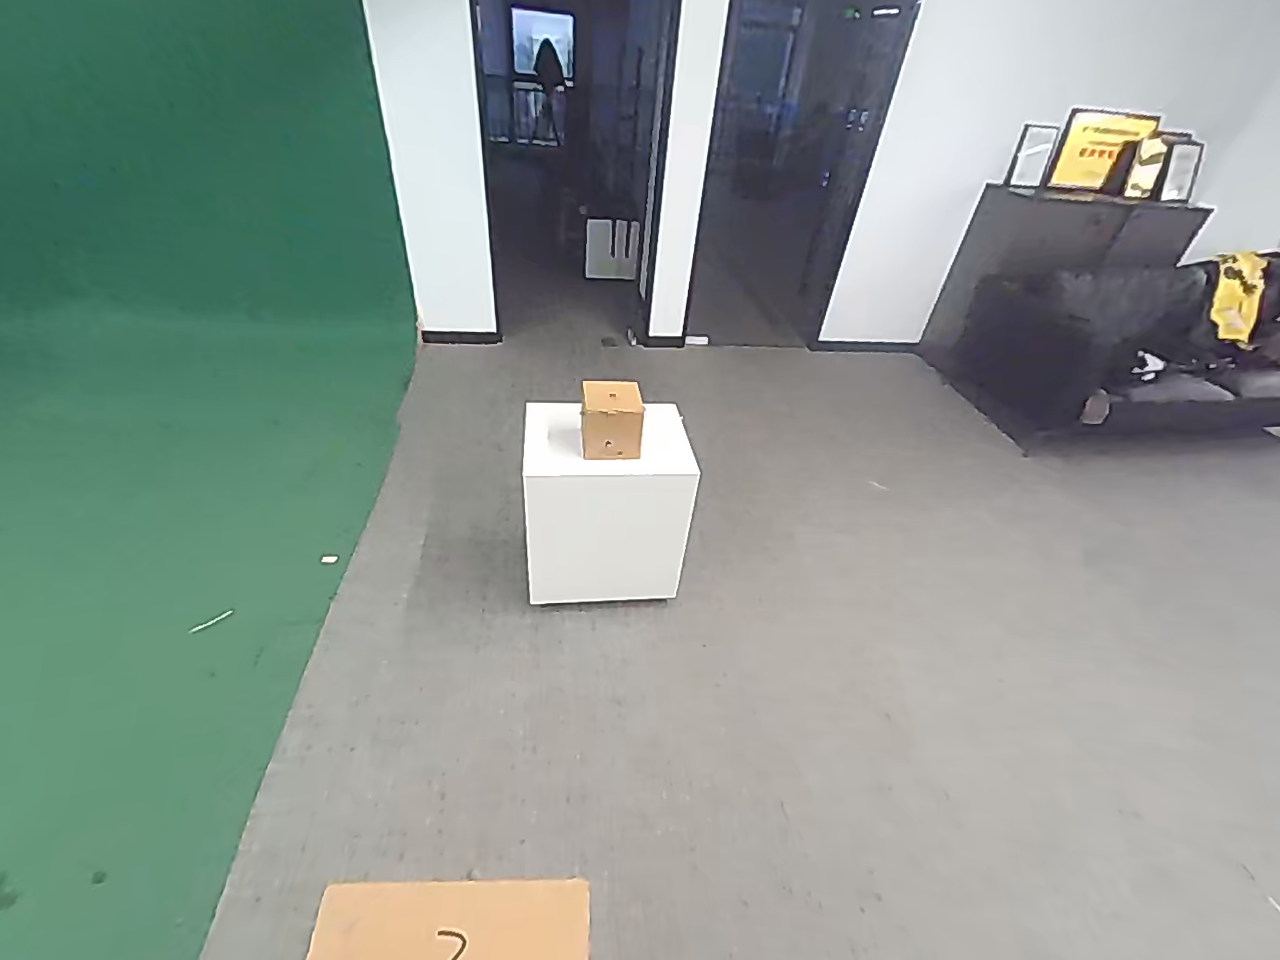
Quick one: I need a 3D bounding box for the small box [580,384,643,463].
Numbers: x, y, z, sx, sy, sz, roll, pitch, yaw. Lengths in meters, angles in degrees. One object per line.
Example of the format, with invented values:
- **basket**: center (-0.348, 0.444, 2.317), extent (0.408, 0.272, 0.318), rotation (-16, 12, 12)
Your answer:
- **small box**: center (-0.090, -0.167, 1.596), extent (0.168, 0.176, 0.179), rotation (-1, 37, -10)
